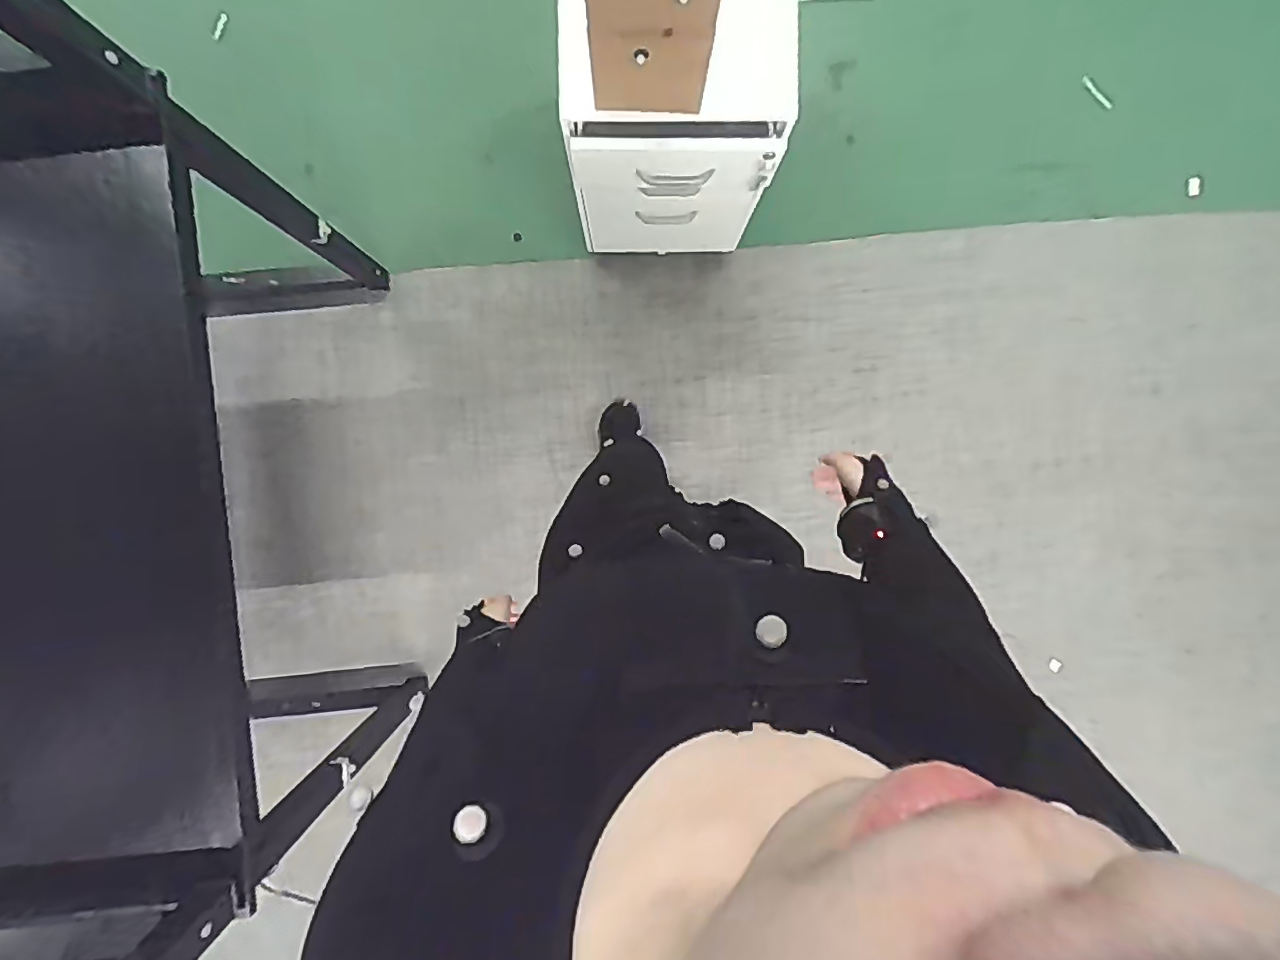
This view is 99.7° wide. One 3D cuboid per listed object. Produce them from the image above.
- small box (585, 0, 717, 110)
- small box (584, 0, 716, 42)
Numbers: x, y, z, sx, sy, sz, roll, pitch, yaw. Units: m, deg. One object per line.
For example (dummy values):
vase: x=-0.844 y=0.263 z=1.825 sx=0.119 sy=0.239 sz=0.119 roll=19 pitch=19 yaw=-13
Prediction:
small box: x=0.016 y=-0.680 z=0.792 sx=0.179 sy=0.176 sz=0.168 roll=2 pitch=91 yaw=-2
small box: x=0.013 y=-0.659 z=0.631 sx=0.168 sy=0.176 sz=0.179 roll=-1 pitch=90 yaw=-2
